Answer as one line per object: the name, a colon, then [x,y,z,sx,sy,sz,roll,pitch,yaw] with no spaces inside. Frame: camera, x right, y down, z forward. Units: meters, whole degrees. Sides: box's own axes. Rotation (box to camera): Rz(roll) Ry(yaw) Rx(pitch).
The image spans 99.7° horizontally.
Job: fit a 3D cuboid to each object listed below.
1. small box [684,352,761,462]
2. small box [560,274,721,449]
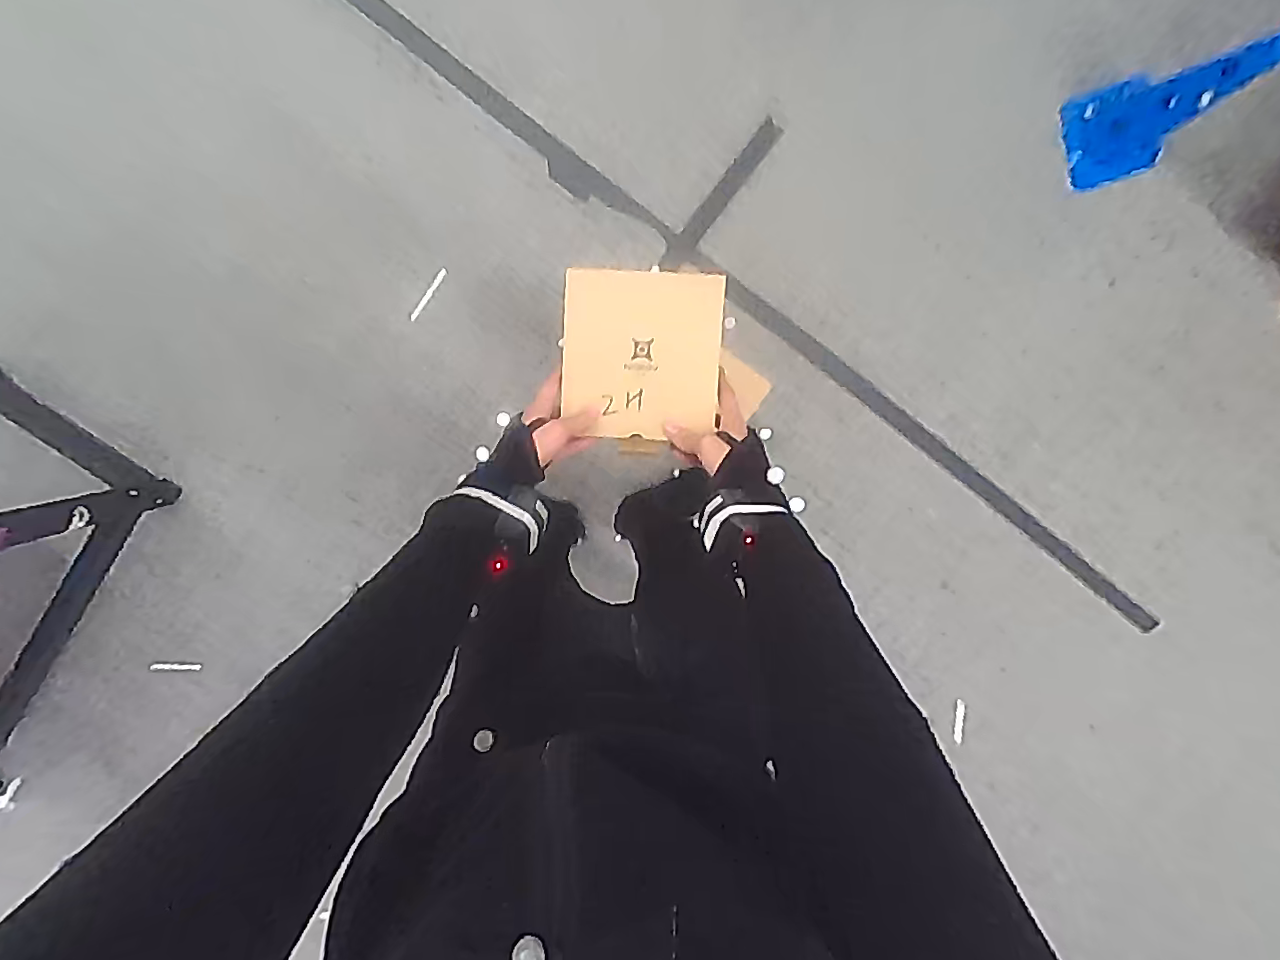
small box: [0.117,-0.166,1.111,0.168,0.176,0.179,41,100,-7]
small box: [0.002,-0.143,0.650,0.168,0.176,0.179,3,105,4]
